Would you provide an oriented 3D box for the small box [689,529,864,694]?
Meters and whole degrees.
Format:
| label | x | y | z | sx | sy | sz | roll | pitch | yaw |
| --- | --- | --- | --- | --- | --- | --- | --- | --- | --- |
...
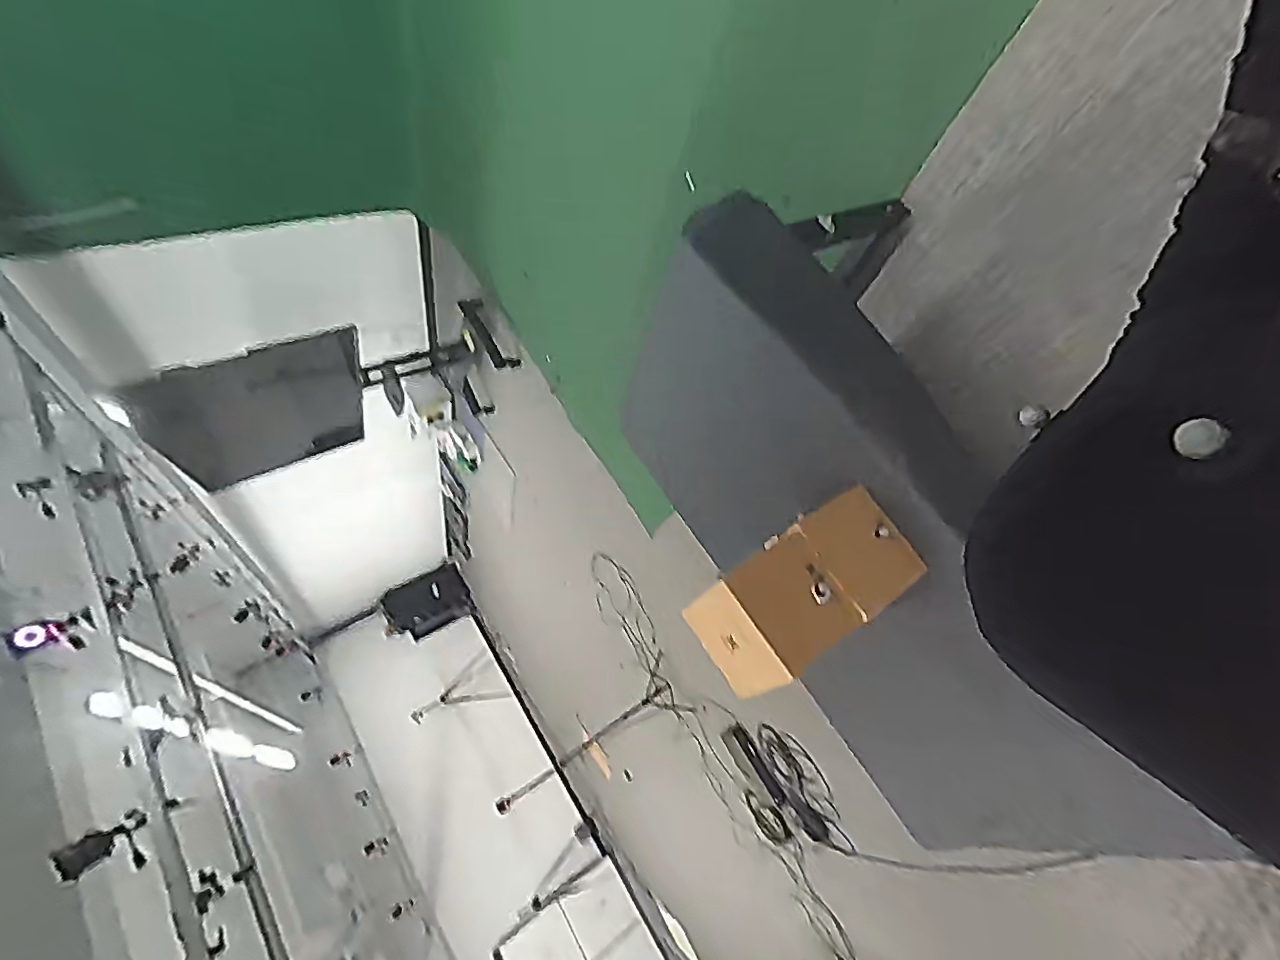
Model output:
| label | x | y | z | sx | sy | sz | roll | pitch | yaw |
| --- | --- | --- | --- | --- | --- | --- | --- | --- | --- |
| small box | 0.212 | 0.206 | 0.854 | 0.168 | 0.176 | 0.179 | 53 | 149 | 16 |

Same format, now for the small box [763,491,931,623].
| label | x | y | z | sx | sy | sz | roll | pitch | yaw |
| --- | --- | --- | --- | --- | --- | --- | --- | --- | --- |
| small box | 0.343 | 0.138 | 0.922 | 0.179 | 0.176 | 0.168 | 56 | 151 | 17 |
